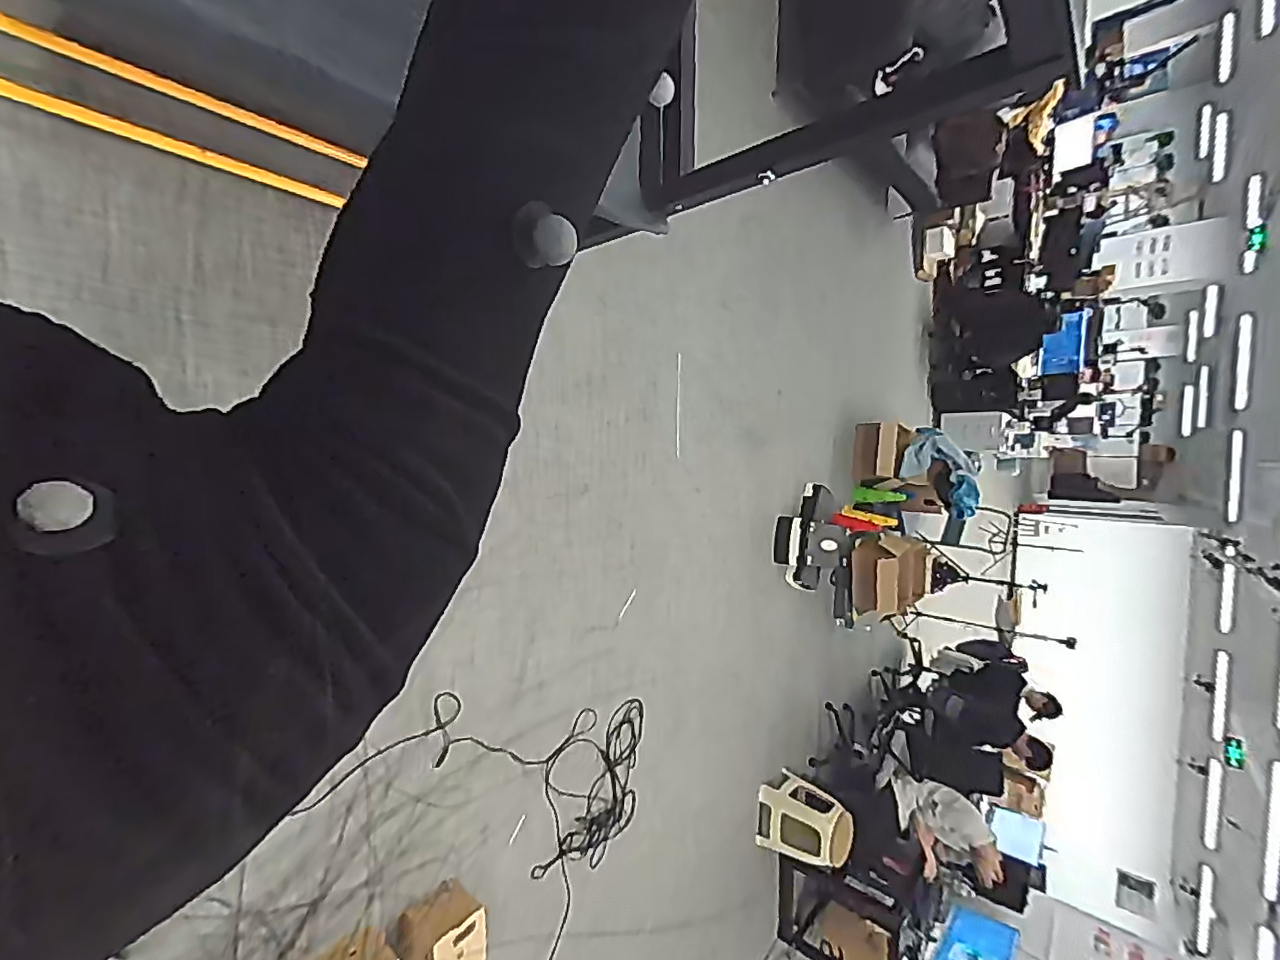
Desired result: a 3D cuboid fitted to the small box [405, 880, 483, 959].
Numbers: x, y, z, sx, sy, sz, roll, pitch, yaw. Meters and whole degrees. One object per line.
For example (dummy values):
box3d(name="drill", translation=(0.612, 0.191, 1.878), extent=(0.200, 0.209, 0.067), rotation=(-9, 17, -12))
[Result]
box3d(name="small box", translation=(-0.590, 1.351, 1.622), extent=(0.168, 0.176, 0.179), rotation=(-6, 98, -49))

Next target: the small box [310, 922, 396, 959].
box3d(name="small box", translation=(-0.758, 1.340, 1.430), extent=(0.168, 0.176, 0.179), rotation=(-11, 100, -49))
